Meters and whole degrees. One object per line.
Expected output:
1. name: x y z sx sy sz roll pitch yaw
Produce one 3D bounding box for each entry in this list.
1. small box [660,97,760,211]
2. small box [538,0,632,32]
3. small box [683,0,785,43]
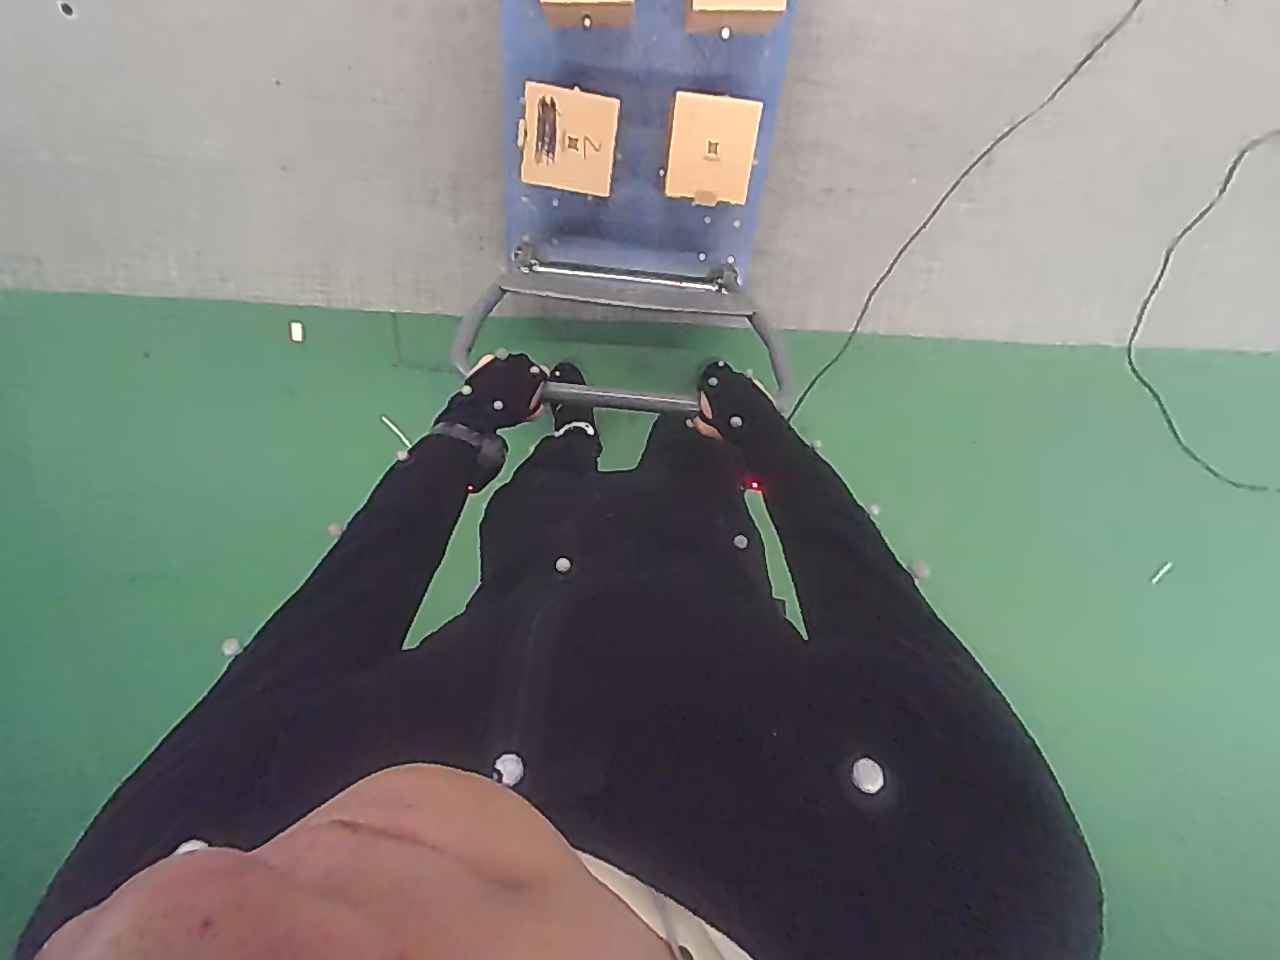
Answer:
1. small box: 0.135 -0.667 1.120 0.168 0.176 0.179 5 118 -4
2. small box: -0.096 -0.930 0.969 0.168 0.176 0.179 -1 118 -2
3. small box: 0.170 -0.926 0.981 0.168 0.176 0.179 0 119 -2
